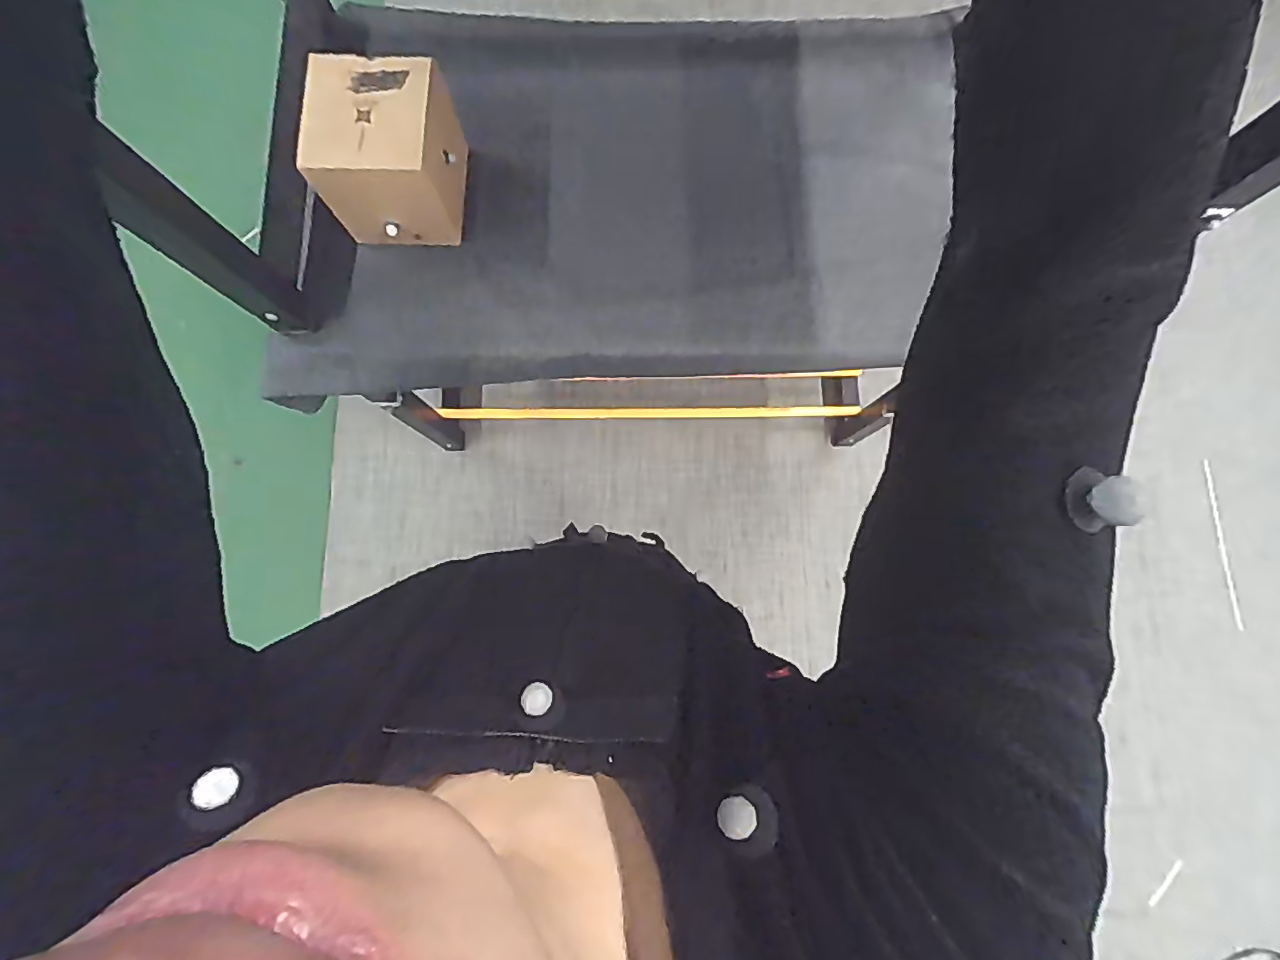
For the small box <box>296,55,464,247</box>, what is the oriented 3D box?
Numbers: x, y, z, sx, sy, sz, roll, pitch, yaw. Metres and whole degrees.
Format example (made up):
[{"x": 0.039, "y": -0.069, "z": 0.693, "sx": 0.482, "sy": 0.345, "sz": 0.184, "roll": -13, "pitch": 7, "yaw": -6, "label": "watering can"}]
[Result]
[{"x": -0.366, "y": -0.474, "z": 0.796, "sx": 0.168, "sy": 0.176, "sz": 0.179, "roll": 0, "pitch": 81, "yaw": -1, "label": "small box"}]
